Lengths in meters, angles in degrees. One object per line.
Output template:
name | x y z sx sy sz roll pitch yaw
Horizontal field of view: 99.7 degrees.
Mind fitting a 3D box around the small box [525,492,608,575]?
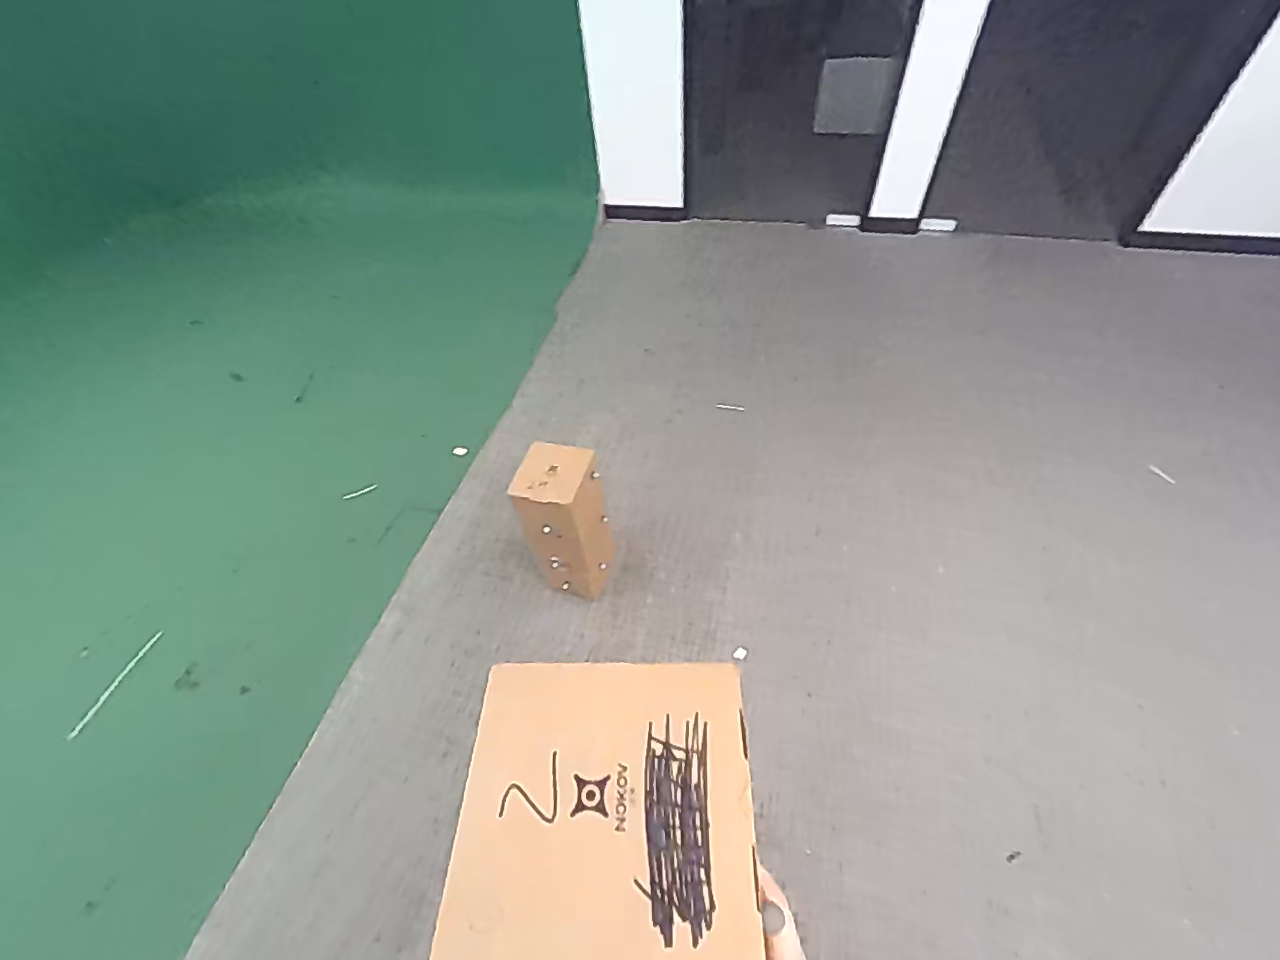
small box | -0.192 0.134 1.479 0.168 0.176 0.179 9 54 14

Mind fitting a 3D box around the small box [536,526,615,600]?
small box | -0.182 0.234 1.607 0.168 0.176 0.179 12 54 15

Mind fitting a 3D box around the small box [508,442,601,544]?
small box | -0.203 0.033 1.349 0.168 0.176 0.179 9 52 14
